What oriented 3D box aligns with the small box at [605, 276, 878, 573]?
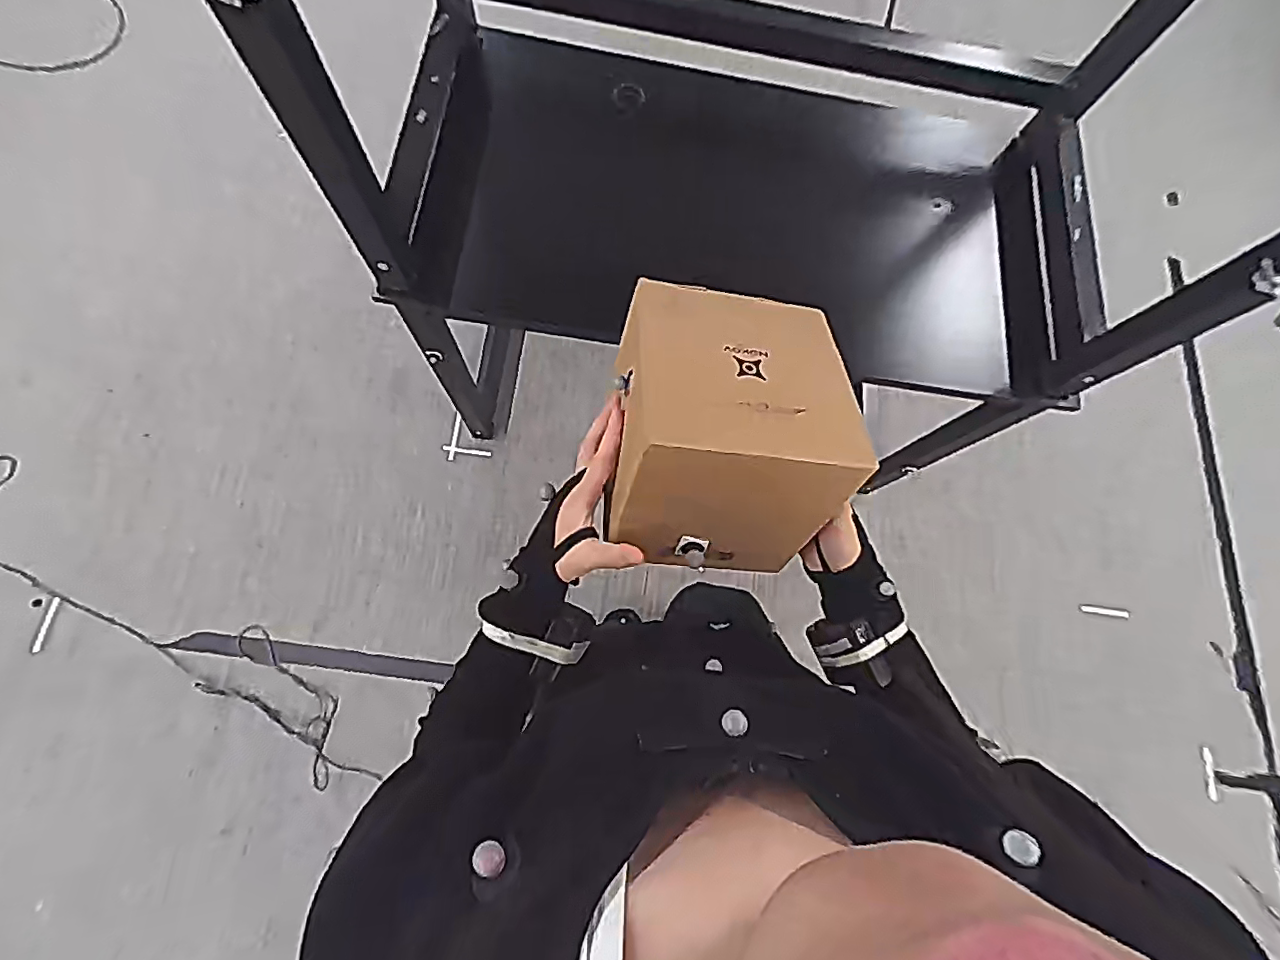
[{"bbox_3d":[0.062,-0.040,0.462,0.168,0.176,0.179,5,54,-11],"label":"small box"}]
